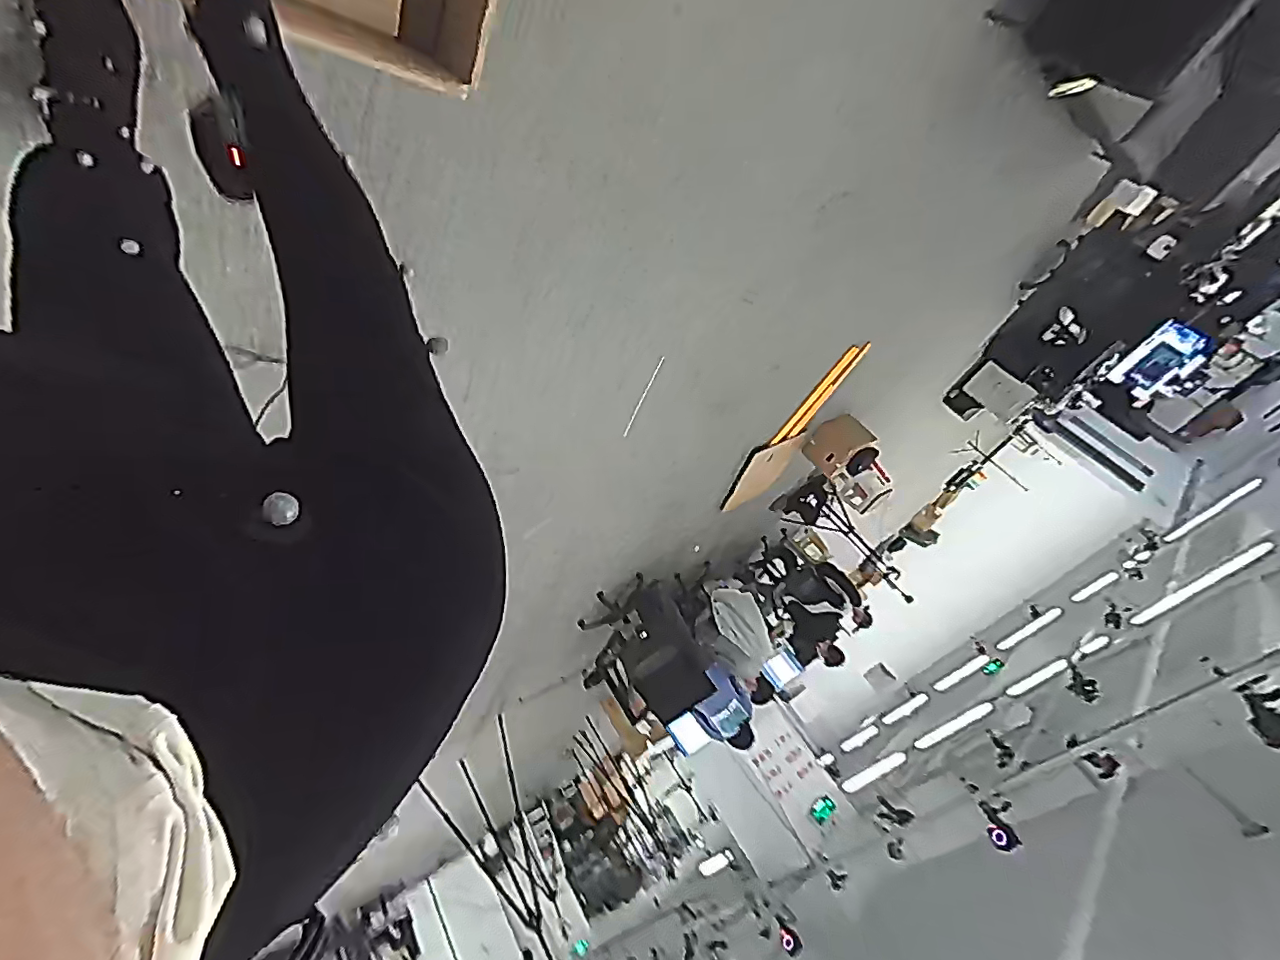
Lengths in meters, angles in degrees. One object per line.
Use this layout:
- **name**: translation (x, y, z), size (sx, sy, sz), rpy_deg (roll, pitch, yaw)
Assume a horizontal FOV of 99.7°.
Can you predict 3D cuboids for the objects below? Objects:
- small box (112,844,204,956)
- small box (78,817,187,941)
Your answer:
- **small box**: translation (-1.323, 1.143, 1.480), size (0.168, 0.176, 0.179), rpy_deg (-15, 144, -41)
- **small box**: translation (-1.227, 0.962, 1.314), size (0.168, 0.176, 0.179), rpy_deg (-13, 144, -41)
